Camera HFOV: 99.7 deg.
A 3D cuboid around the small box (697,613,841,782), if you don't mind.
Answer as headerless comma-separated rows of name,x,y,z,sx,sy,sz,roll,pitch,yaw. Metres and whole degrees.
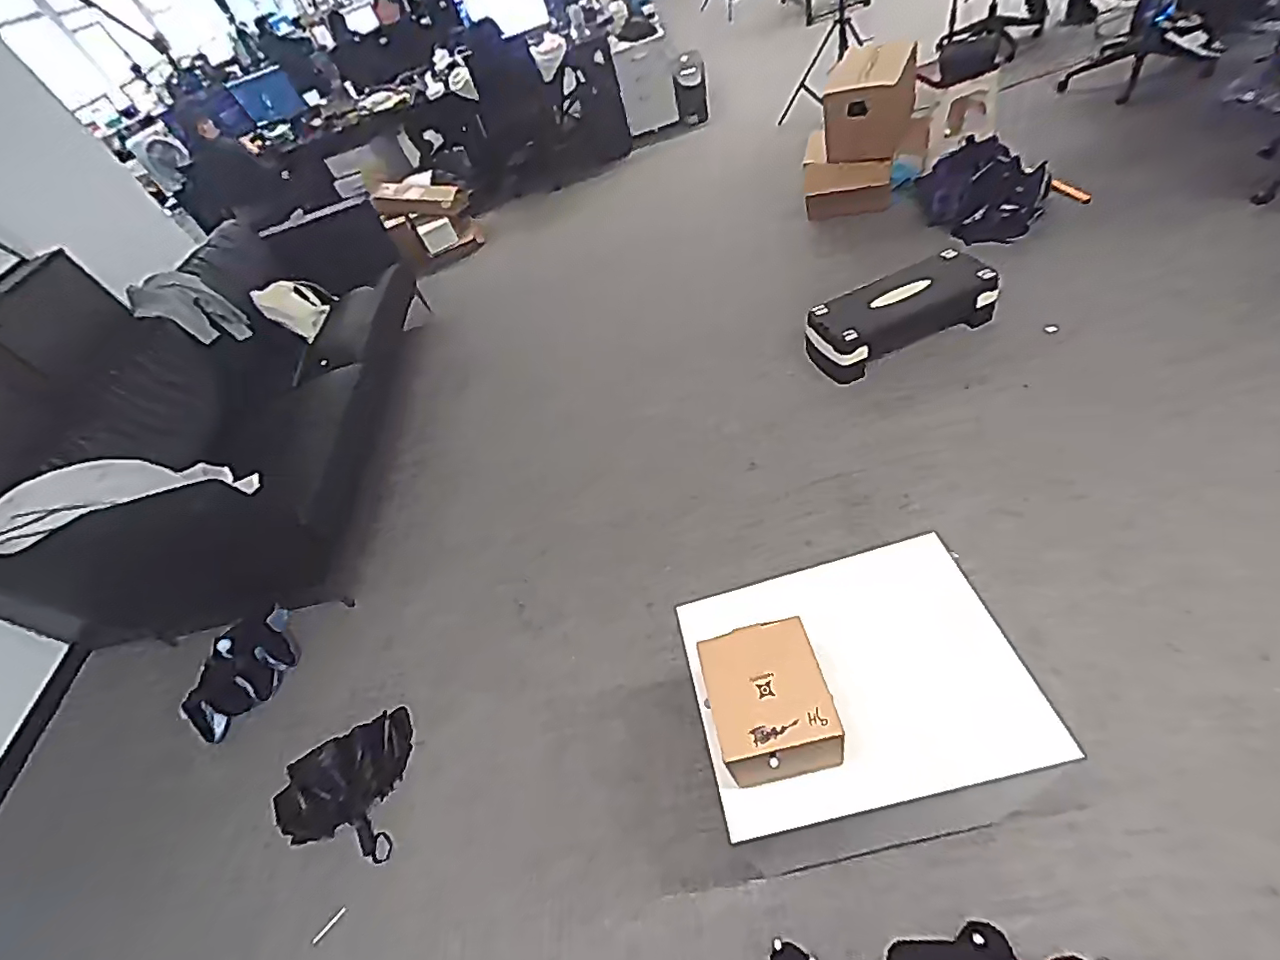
small box,0.195,0.334,0.827,0.168,0.176,0.179,-16,47,6
